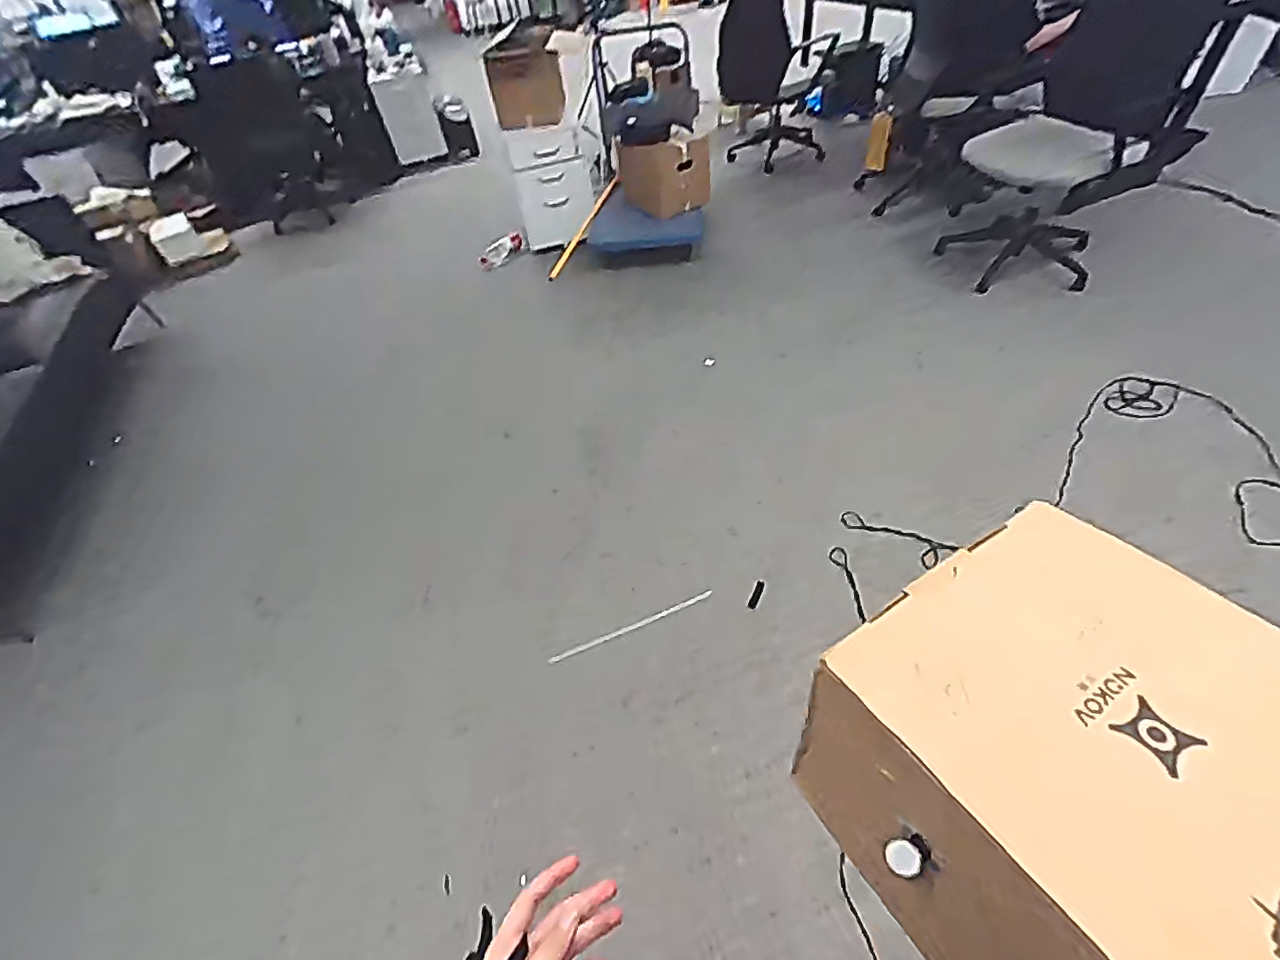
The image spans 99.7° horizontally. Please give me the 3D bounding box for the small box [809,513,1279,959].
[{"bbox_3d":[0.208,0.156,0.277,0.168,0.176,0.179,-27,46,-18],"label":"small box"}]
